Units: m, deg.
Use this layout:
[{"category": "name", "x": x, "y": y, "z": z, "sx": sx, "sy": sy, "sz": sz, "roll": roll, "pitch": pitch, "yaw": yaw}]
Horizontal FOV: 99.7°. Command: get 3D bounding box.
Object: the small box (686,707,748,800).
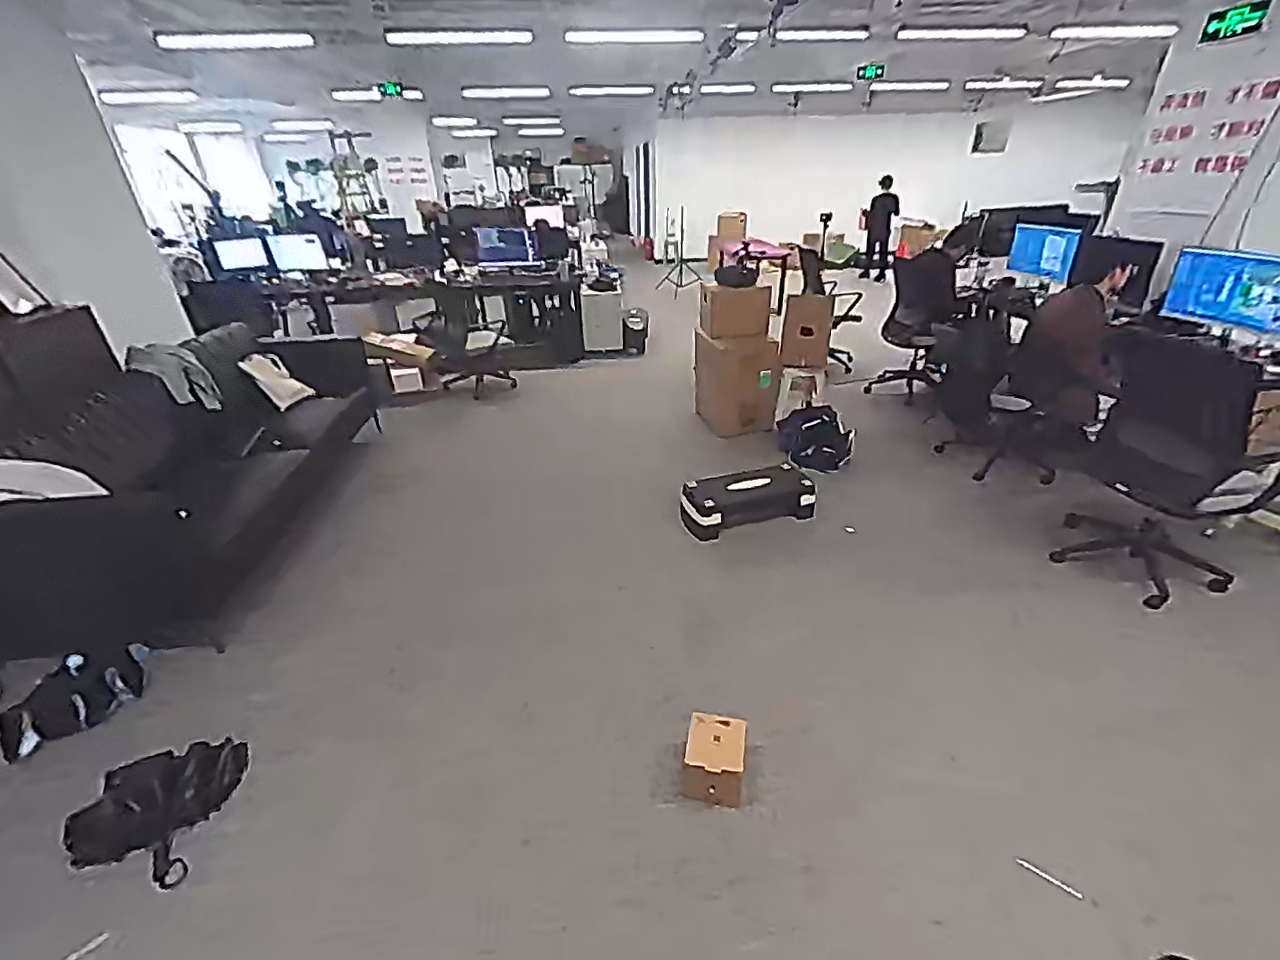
[{"category": "small box", "x": 0.233, "y": 0.816, "z": 1.611, "sx": 0.168, "sy": 0.176, "sz": 0.179, "roll": 4, "pitch": 31, "yaw": 12}]
